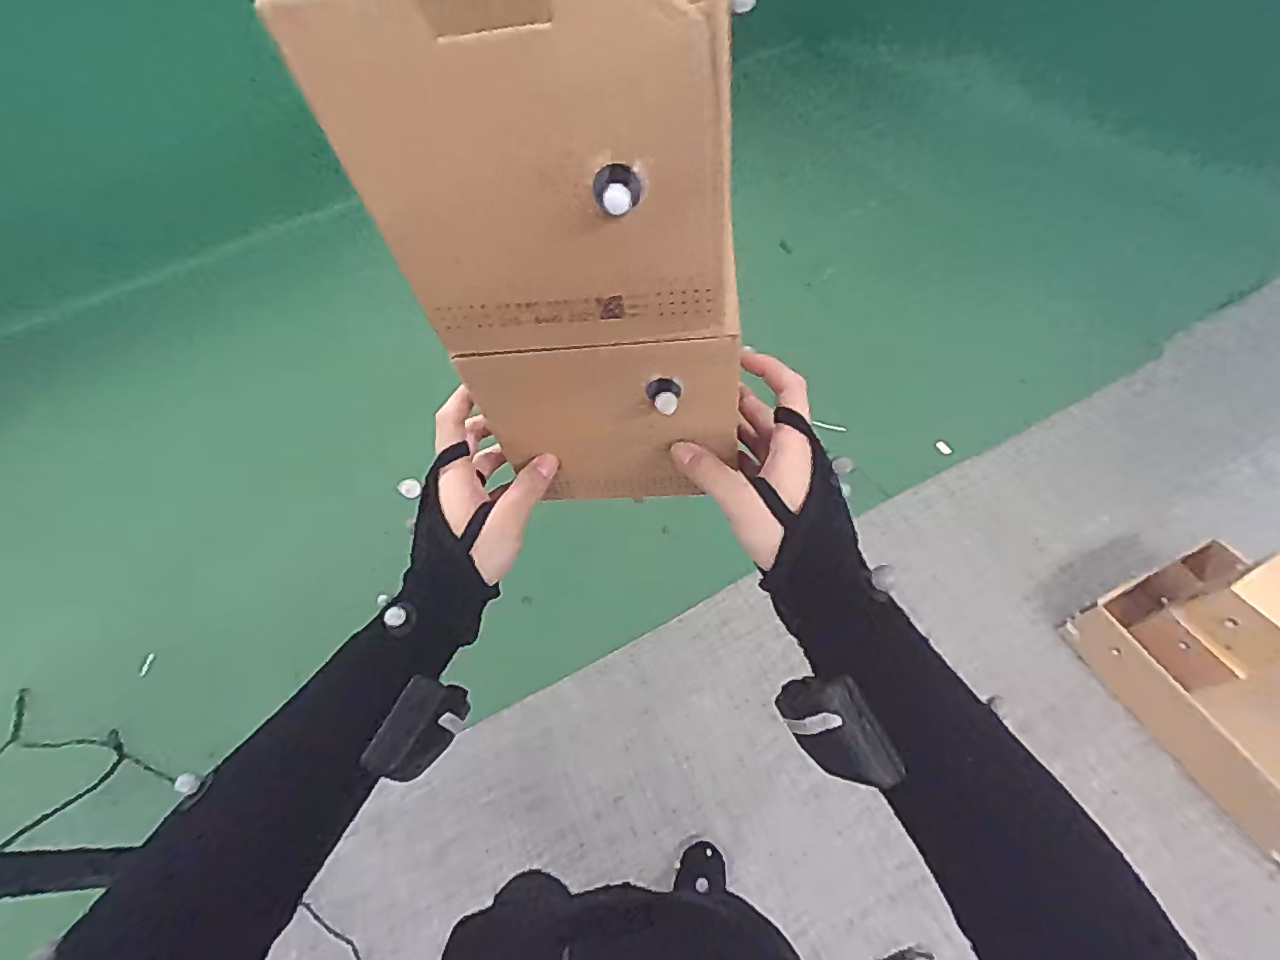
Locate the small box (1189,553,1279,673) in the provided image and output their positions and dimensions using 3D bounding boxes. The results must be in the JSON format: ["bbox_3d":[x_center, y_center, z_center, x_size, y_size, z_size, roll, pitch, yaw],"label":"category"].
[{"bbox_3d":[1.340,0.281,1.144,0.179,0.176,0.168,-28,58,-9],"label":"small box"}]

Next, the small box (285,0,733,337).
[{"bbox_3d":[-0.034,-0.193,0.296,0.168,0.176,0.179,0,56,8],"label":"small box"}]

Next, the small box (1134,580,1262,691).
[{"bbox_3d":[1.348,0.372,1.279,0.168,0.176,0.179,-26,60,-8],"label":"small box"}]

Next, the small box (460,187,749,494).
[{"bbox_3d":[-0.009,-0.100,0.427,0.179,0.176,0.168,-1,56,9],"label":"small box"}]
